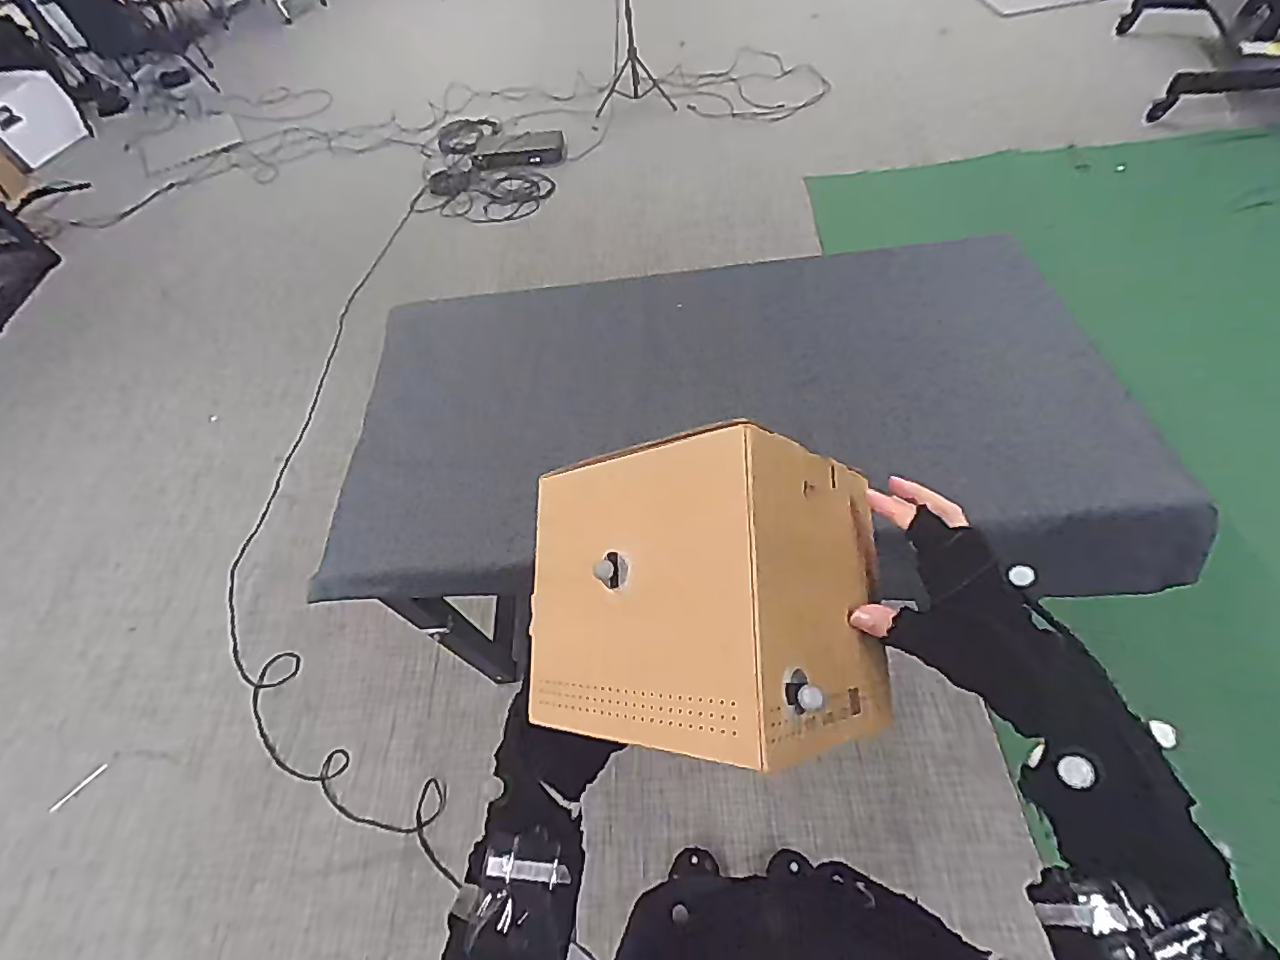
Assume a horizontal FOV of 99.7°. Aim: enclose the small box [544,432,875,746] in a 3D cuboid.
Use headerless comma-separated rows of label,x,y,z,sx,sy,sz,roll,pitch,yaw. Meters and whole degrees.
small box,0.048,0.082,0.386,0.179,0.168,0.176,-15,69,41
